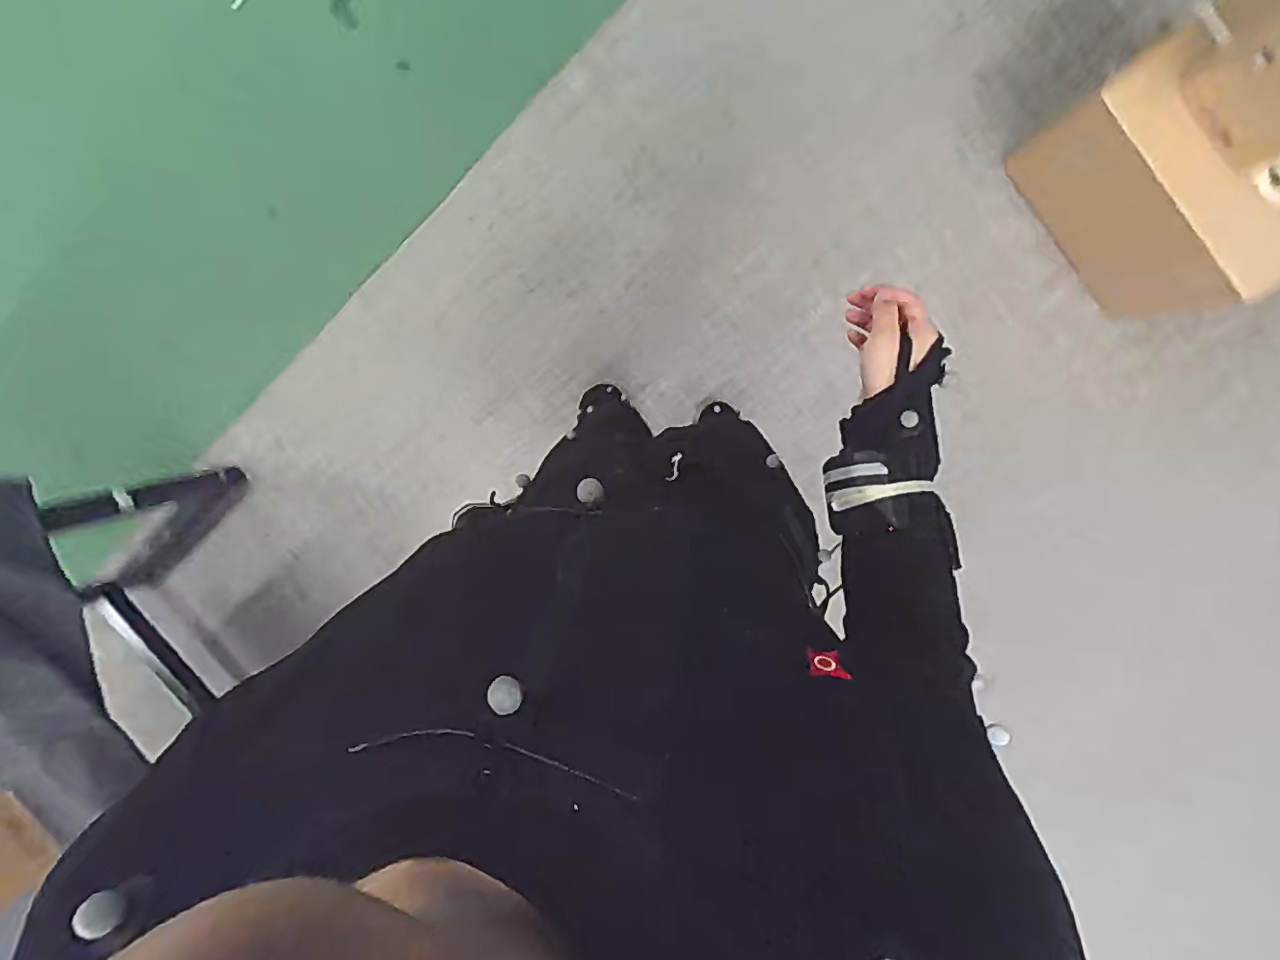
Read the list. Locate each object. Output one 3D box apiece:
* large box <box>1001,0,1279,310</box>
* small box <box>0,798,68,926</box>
[{"bbox_3d":[0.946,-0.560,0.933,0.320,0.320,0.408,-39,95,16],"label":"large box"},{"bbox_3d":[-1.065,0.641,0.841,0.179,0.176,0.168,-35,93,16],"label":"small box"}]
